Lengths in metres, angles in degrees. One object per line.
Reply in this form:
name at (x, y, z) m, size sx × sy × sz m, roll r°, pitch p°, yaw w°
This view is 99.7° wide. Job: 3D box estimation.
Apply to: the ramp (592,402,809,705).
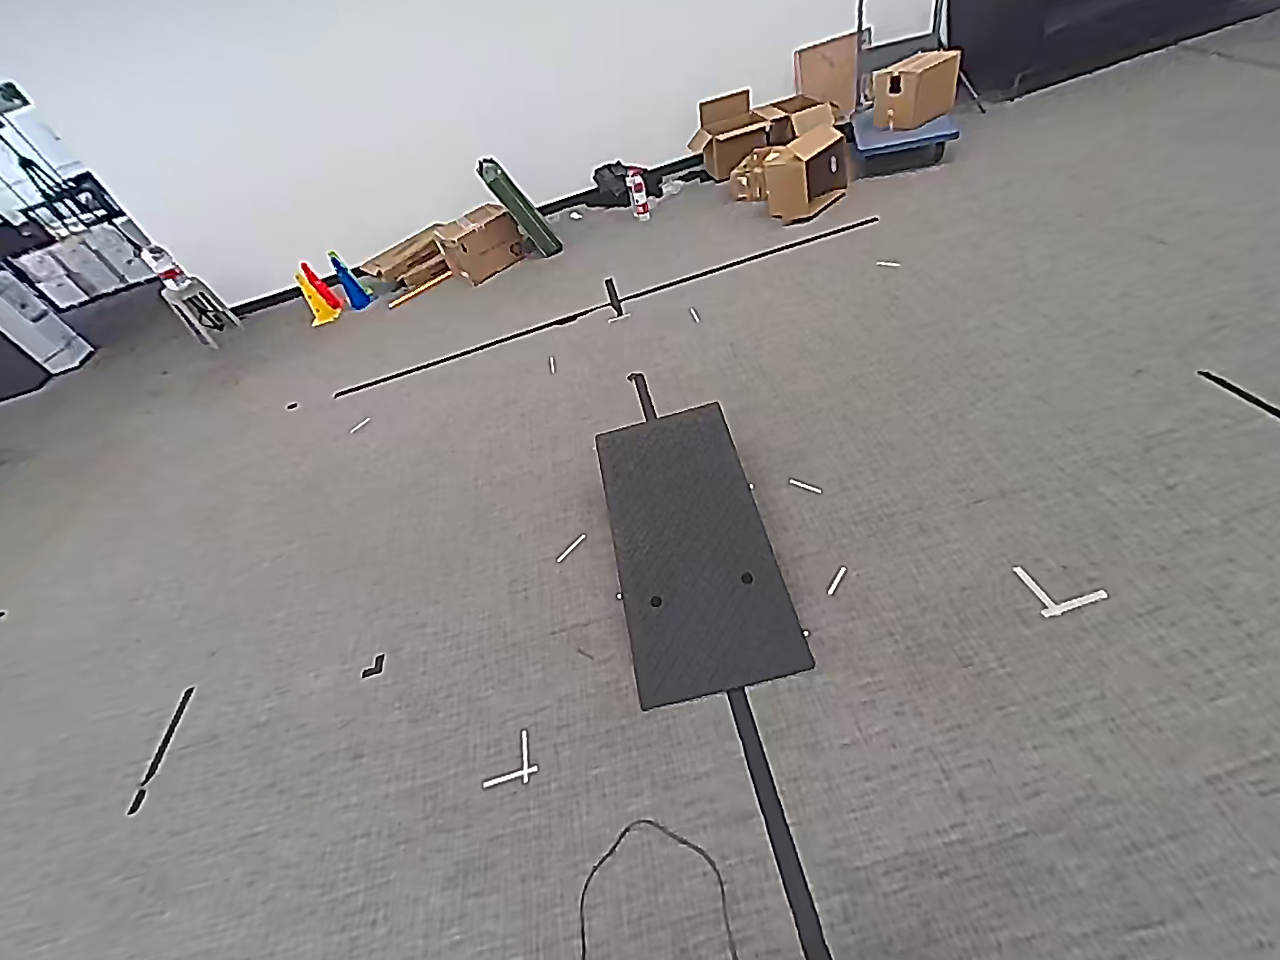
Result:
ramp at (0.143, 0.167, 1.768) m, size 0.509 × 0.206 × 0.991 m, roll -16°, pitch 45°, yaw 2°
